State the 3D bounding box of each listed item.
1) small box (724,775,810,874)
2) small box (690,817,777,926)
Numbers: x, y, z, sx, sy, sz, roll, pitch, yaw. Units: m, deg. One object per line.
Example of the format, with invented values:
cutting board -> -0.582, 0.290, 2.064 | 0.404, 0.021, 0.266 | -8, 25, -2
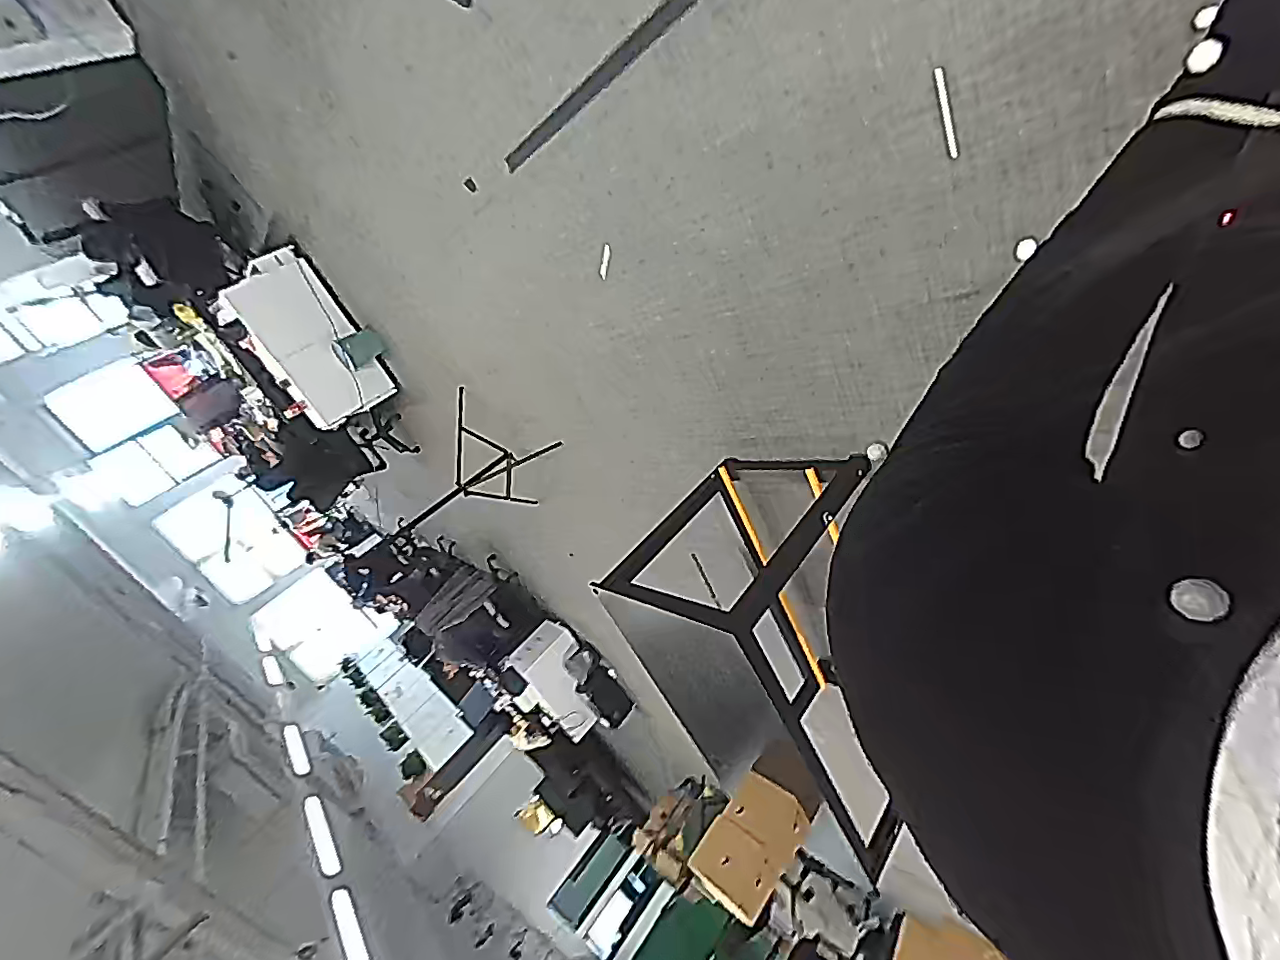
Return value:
small box -> 0.398, 1.060, 1.686 | 0.179, 0.176, 0.168 | 5, 130, 51
small box -> 0.287, 1.159, 1.615 | 0.179, 0.176, 0.168 | 1, 127, 52
